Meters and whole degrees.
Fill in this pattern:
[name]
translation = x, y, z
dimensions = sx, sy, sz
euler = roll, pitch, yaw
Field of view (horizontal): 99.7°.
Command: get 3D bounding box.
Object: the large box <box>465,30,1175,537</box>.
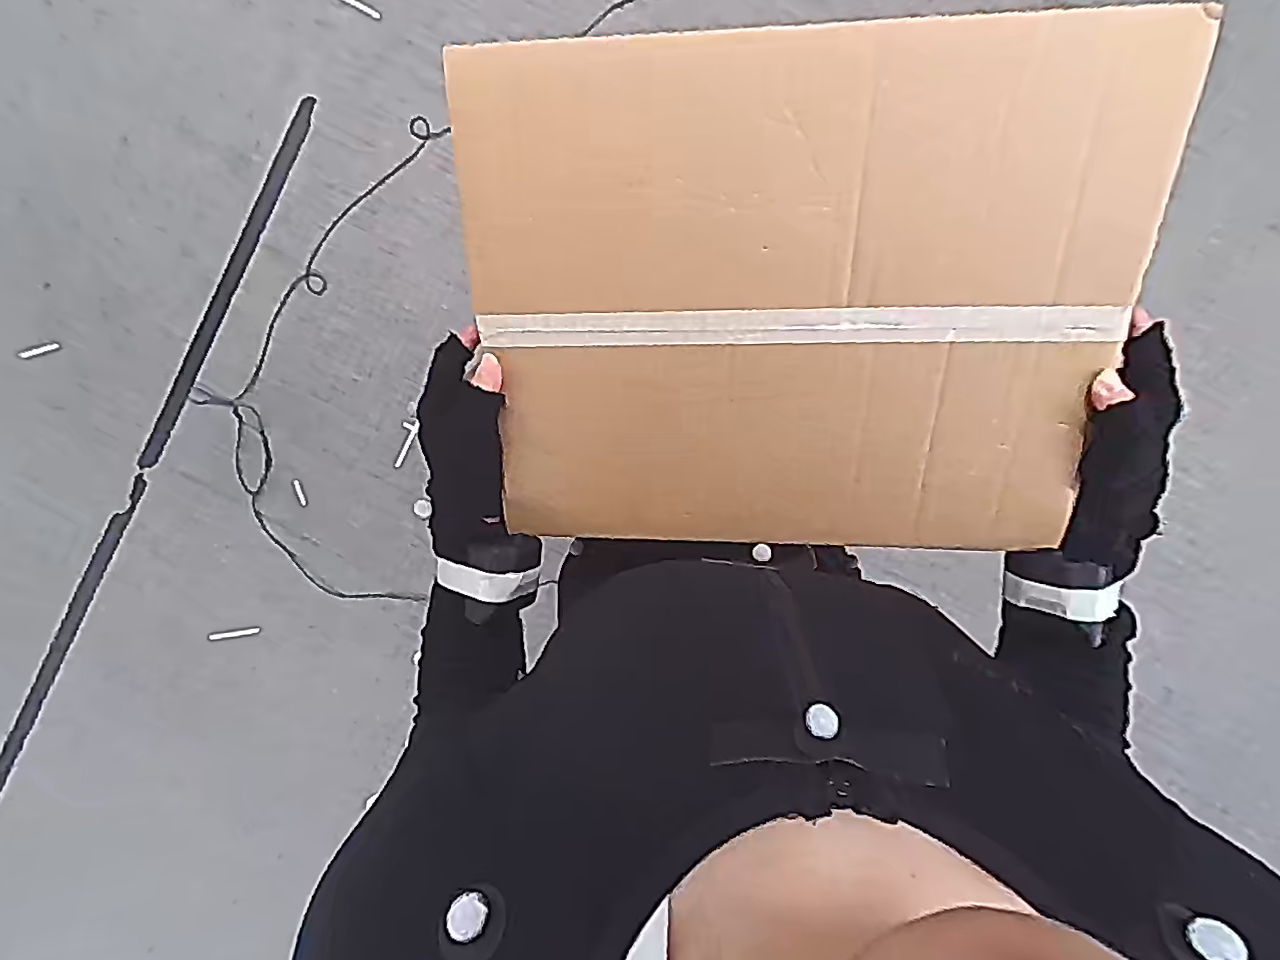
[large box]
translation = 0.106, -0.156, 0.500
dimensions = 0.408, 0.320, 0.320
euler = 1, 114, 5
